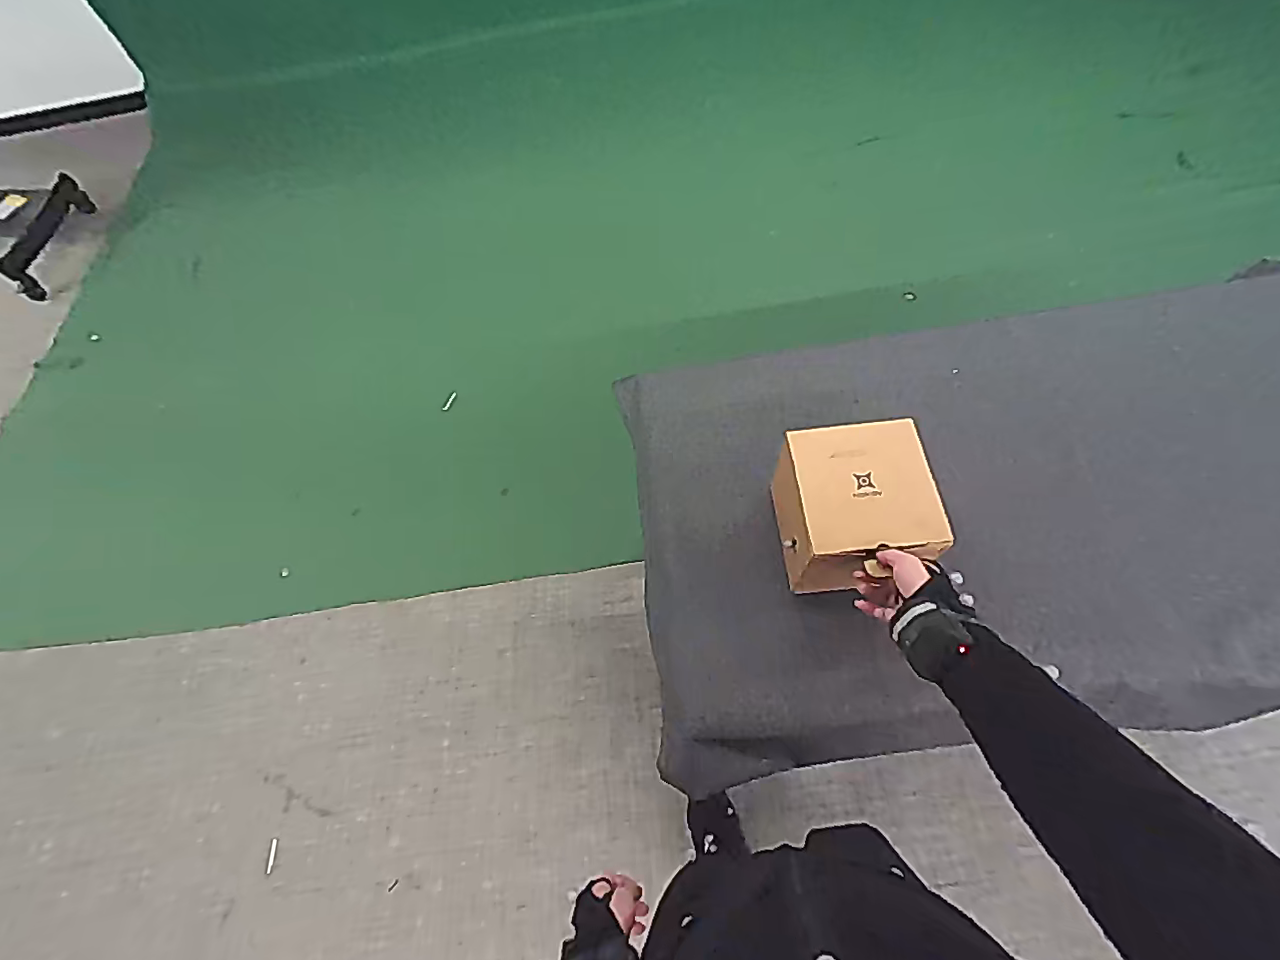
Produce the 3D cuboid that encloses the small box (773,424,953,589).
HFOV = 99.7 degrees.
[{"bbox_3d":[0.289,0.046,0.746,0.168,0.176,0.179,-6,62,2],"label":"small box"}]
